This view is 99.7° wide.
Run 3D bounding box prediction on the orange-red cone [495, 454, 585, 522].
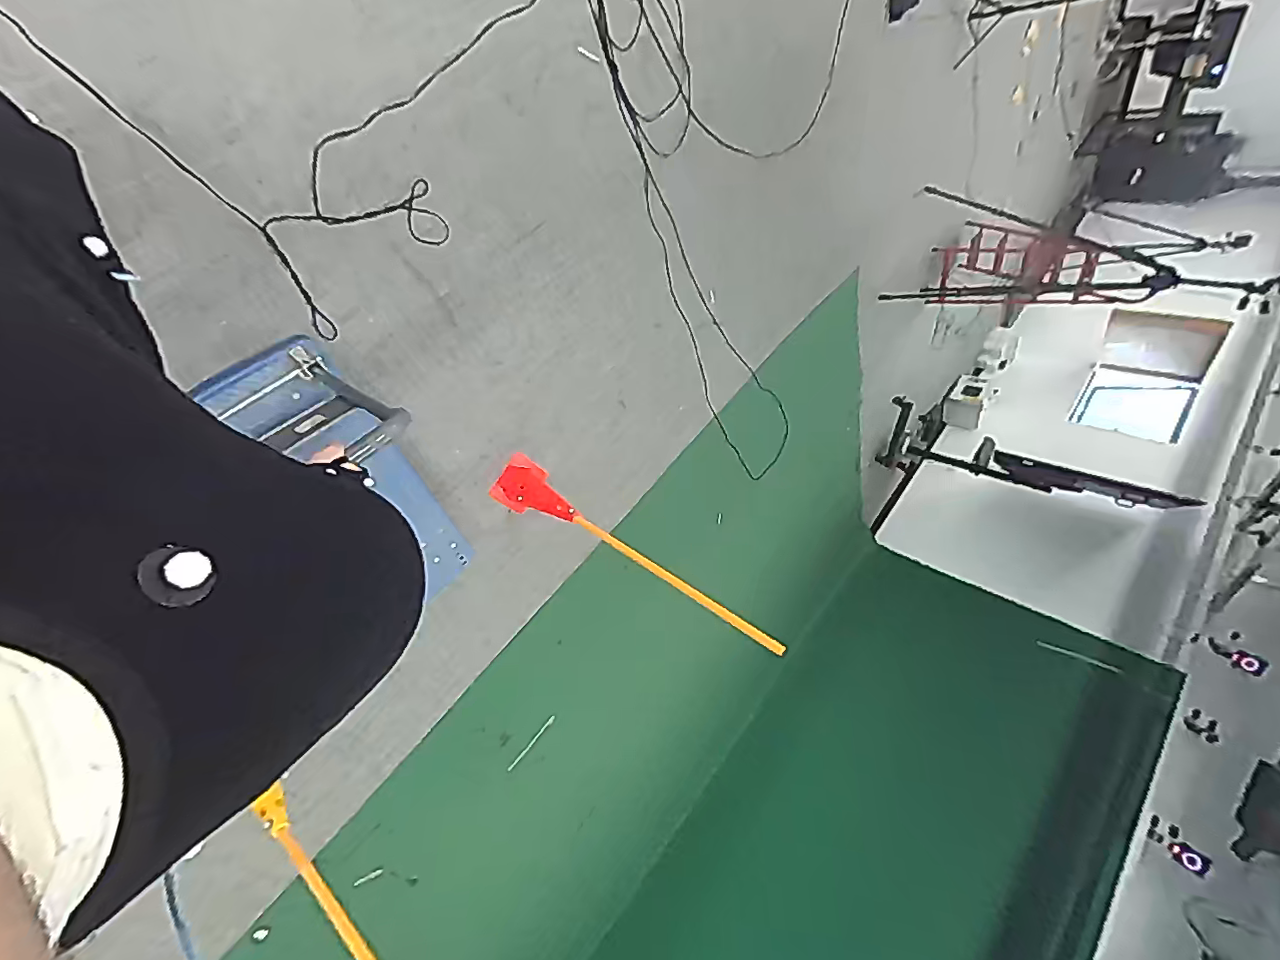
[{"bbox_3d":[-0.331,0.072,1.995,0.199,0.360,0.198,-58,142,-10],"label":"orange-red cone"}]
